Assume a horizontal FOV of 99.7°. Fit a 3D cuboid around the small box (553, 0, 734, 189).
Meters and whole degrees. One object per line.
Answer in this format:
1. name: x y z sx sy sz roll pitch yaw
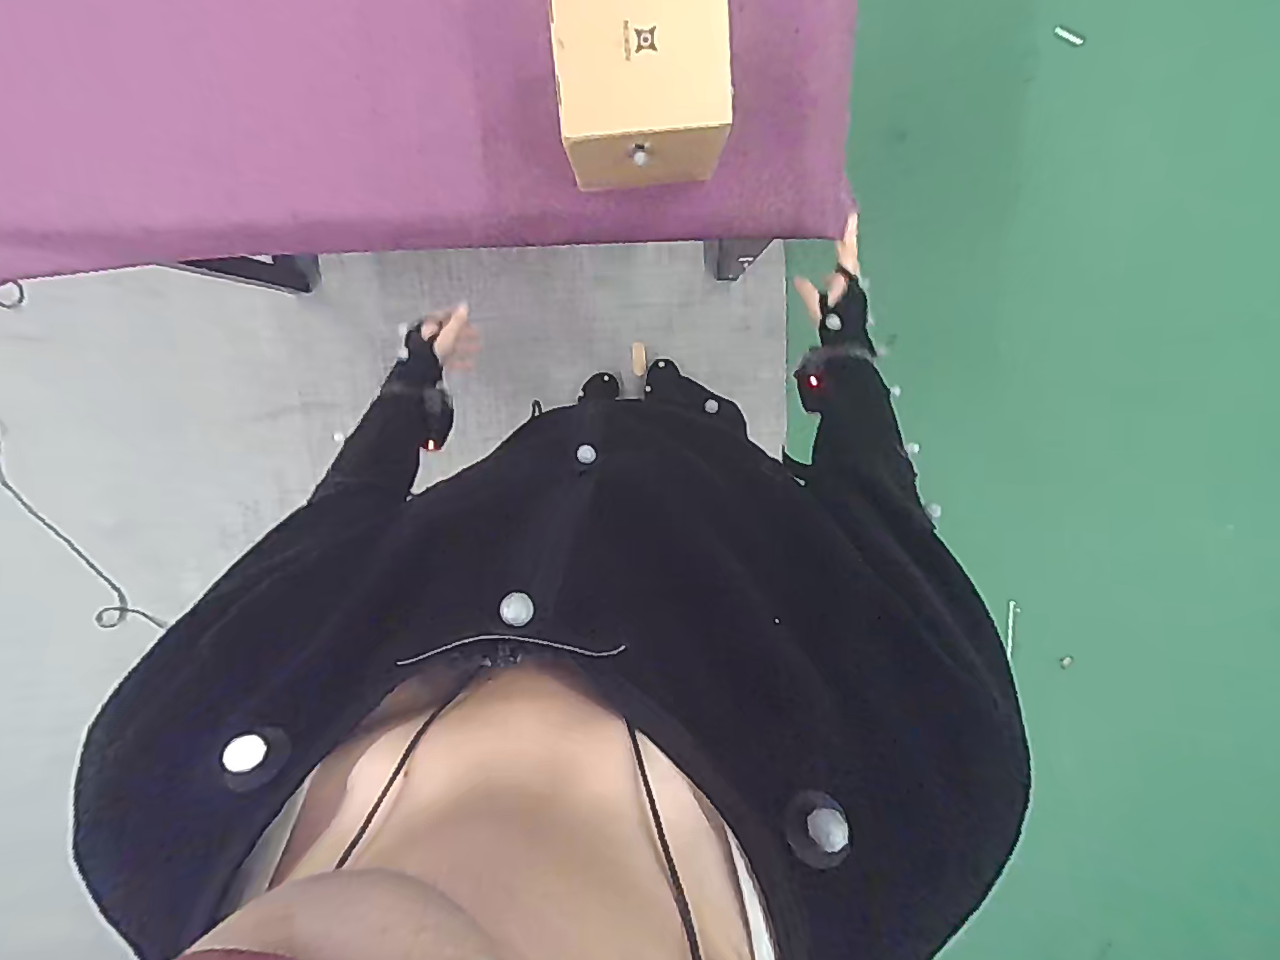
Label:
1. small box: 0.005 -0.448 0.613 0.179 0.176 0.168 -4 102 3
